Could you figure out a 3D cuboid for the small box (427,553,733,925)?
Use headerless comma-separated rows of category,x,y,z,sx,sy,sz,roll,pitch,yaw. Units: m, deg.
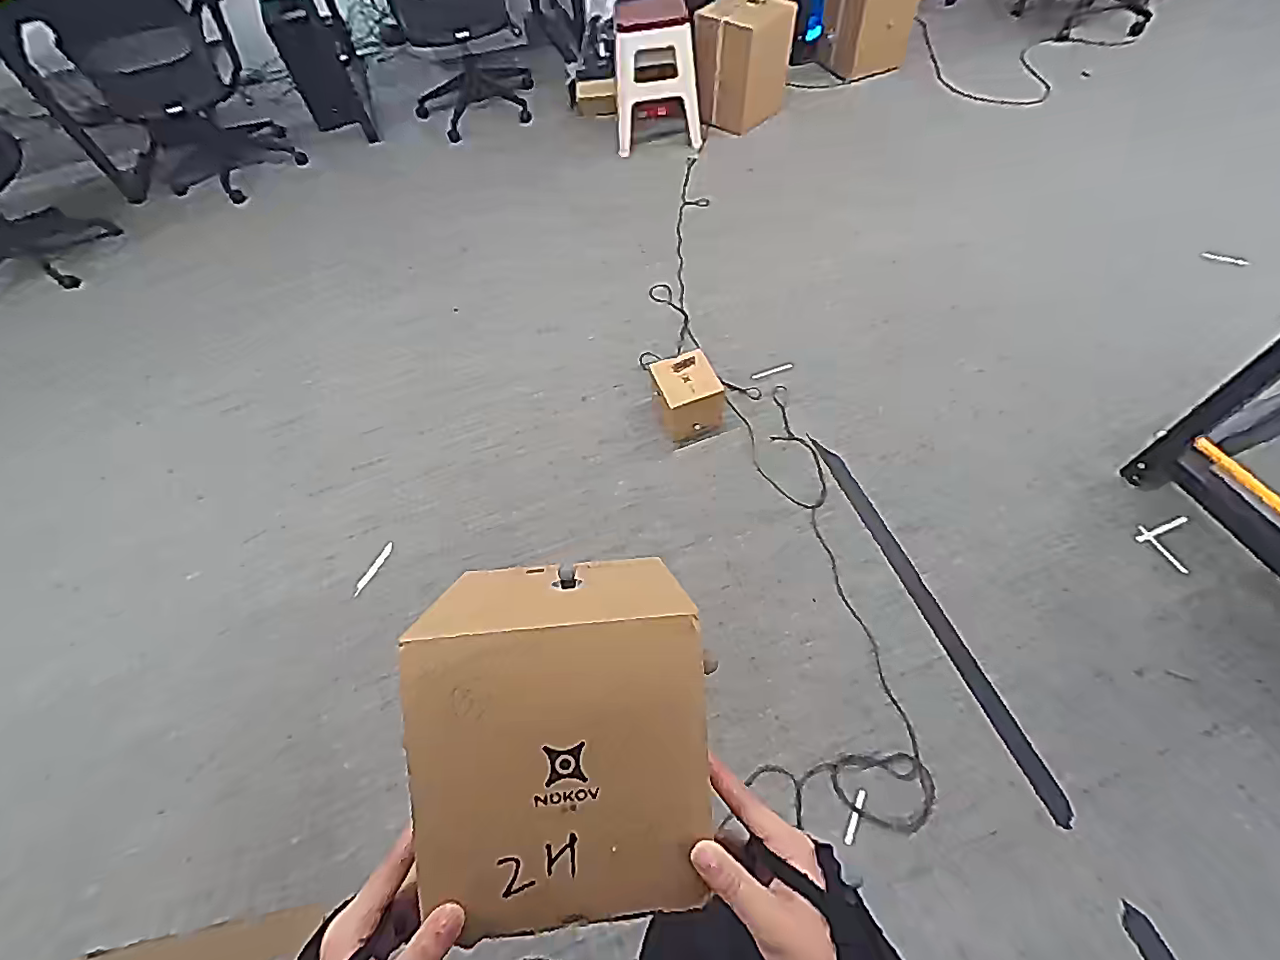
small box,-0.039,0.148,0.377,0.168,0.176,0.179,-3,92,-6

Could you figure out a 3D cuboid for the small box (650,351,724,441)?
small box,0.136,-0.248,1.612,0.168,0.176,0.179,-20,59,-7
